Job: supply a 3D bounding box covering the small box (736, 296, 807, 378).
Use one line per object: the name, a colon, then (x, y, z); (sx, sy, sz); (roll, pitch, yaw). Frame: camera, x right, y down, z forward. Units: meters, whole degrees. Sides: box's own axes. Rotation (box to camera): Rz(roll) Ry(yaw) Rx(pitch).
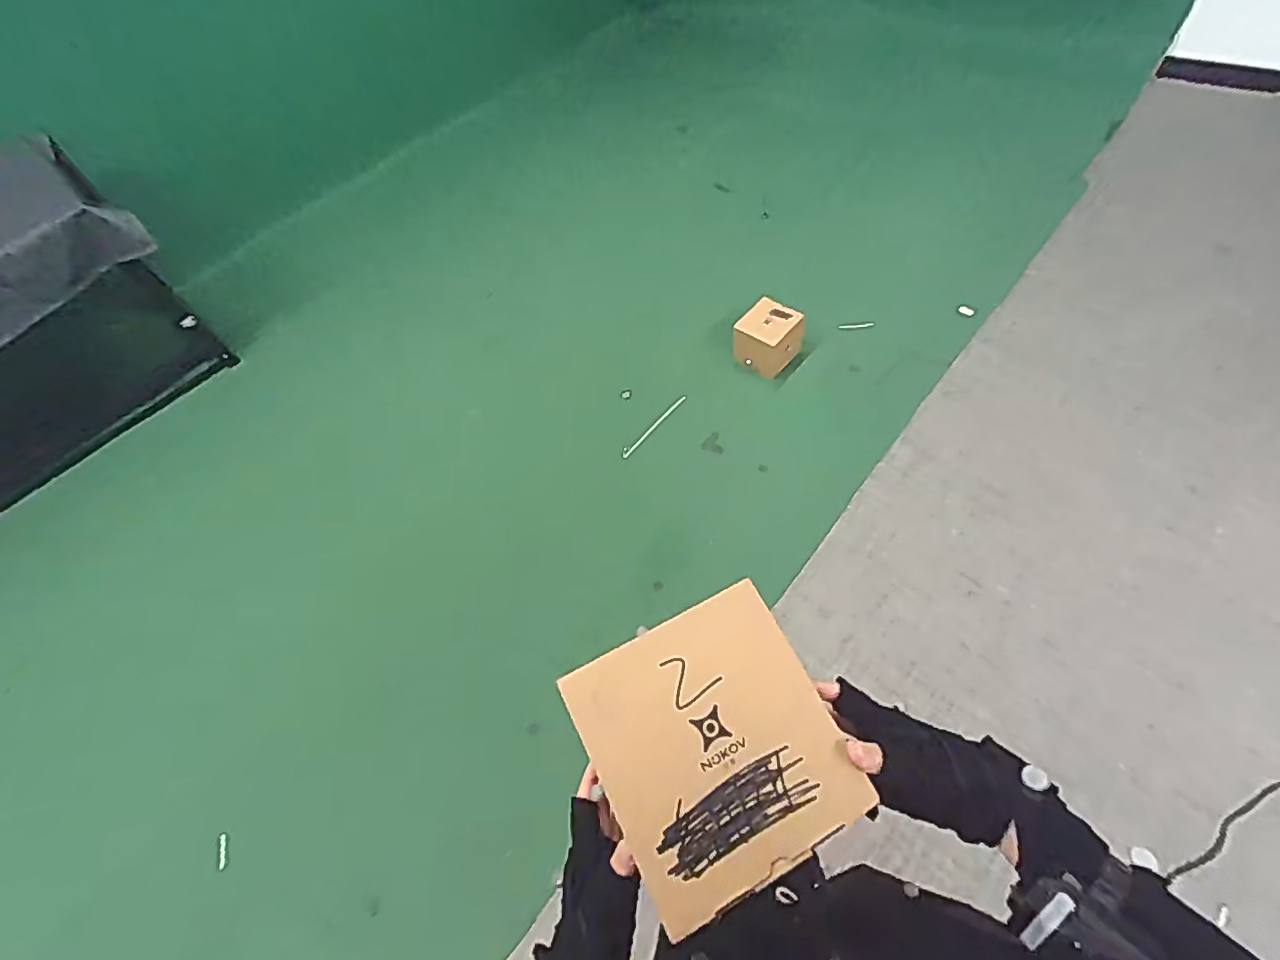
small box: (0.440, -0.482, 1.833); (0.168, 0.176, 0.179); (35, 71, 26)
